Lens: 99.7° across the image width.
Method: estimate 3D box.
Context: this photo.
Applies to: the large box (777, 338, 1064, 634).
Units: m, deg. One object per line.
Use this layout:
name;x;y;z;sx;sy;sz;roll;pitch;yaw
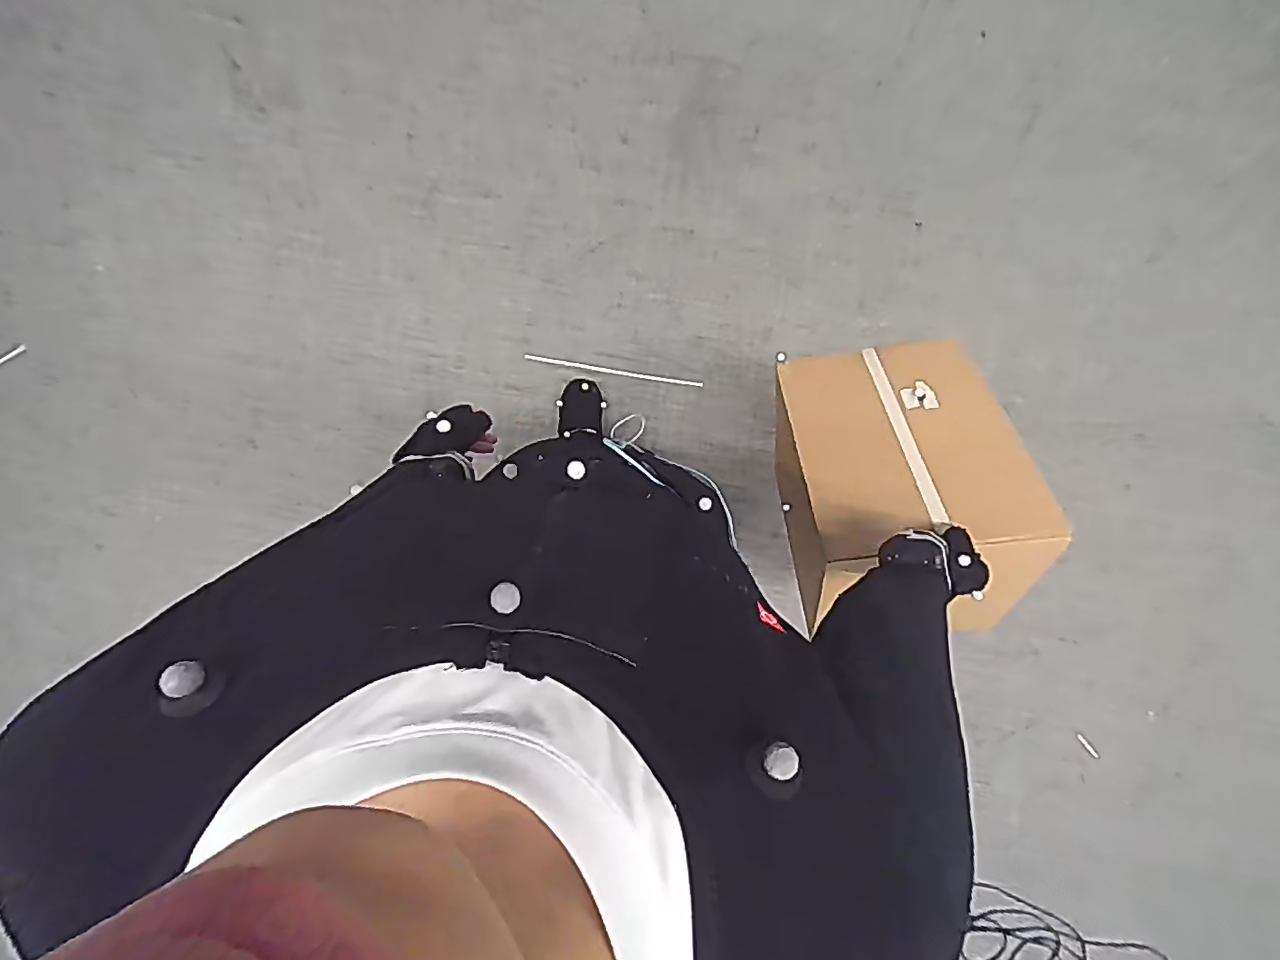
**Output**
large box;0.432;0.016;0.961;0.320;0.320;0.408;-6;52;7
